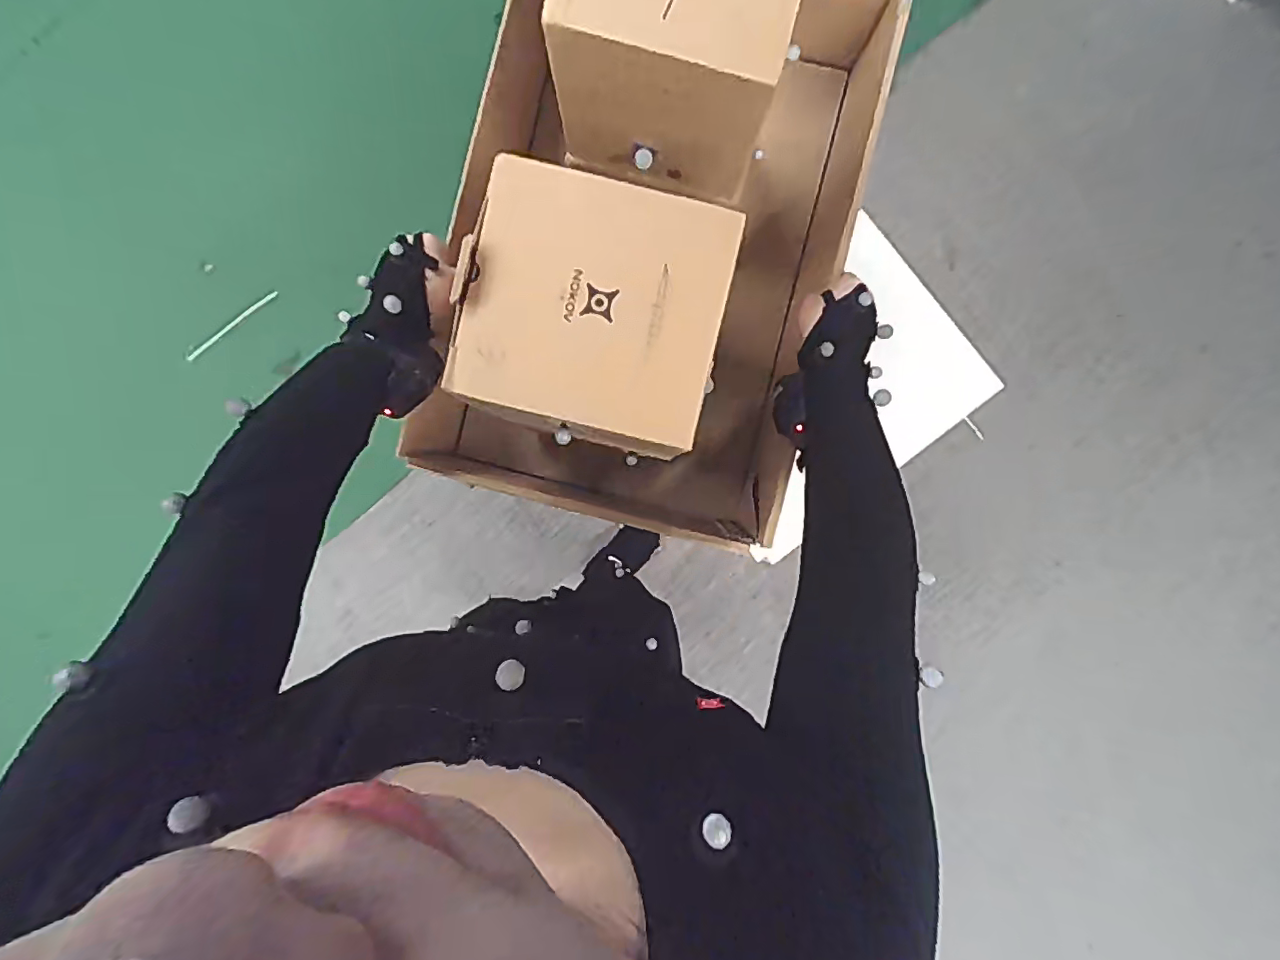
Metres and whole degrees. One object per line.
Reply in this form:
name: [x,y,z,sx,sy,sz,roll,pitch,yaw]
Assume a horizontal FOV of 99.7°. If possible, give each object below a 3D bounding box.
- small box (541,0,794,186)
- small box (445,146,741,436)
small box: [0.030,-0.379,0.435,0.168,0.176,0.179,15,95,-2]
small box: [-0.034,-0.133,0.450,0.179,0.176,0.168,13,93,-2]
